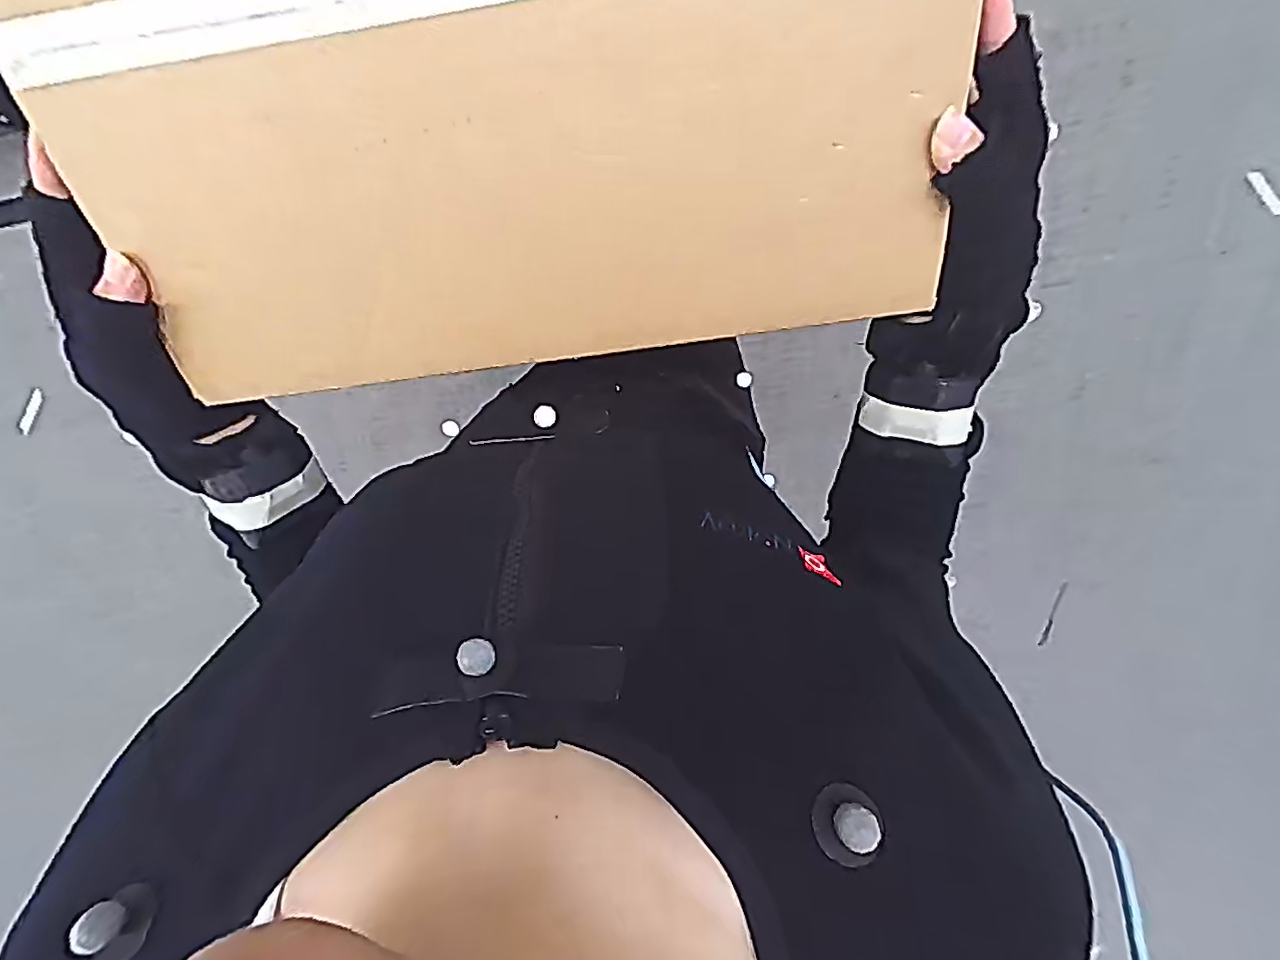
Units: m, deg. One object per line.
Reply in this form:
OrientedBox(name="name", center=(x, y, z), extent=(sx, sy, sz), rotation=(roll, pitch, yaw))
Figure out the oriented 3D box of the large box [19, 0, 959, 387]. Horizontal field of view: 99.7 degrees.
OrientedBox(name="large box", center=(-0.067, -0.284, 0.355), extent=(0.408, 0.320, 0.320), rotation=(-7, 121, 3))
